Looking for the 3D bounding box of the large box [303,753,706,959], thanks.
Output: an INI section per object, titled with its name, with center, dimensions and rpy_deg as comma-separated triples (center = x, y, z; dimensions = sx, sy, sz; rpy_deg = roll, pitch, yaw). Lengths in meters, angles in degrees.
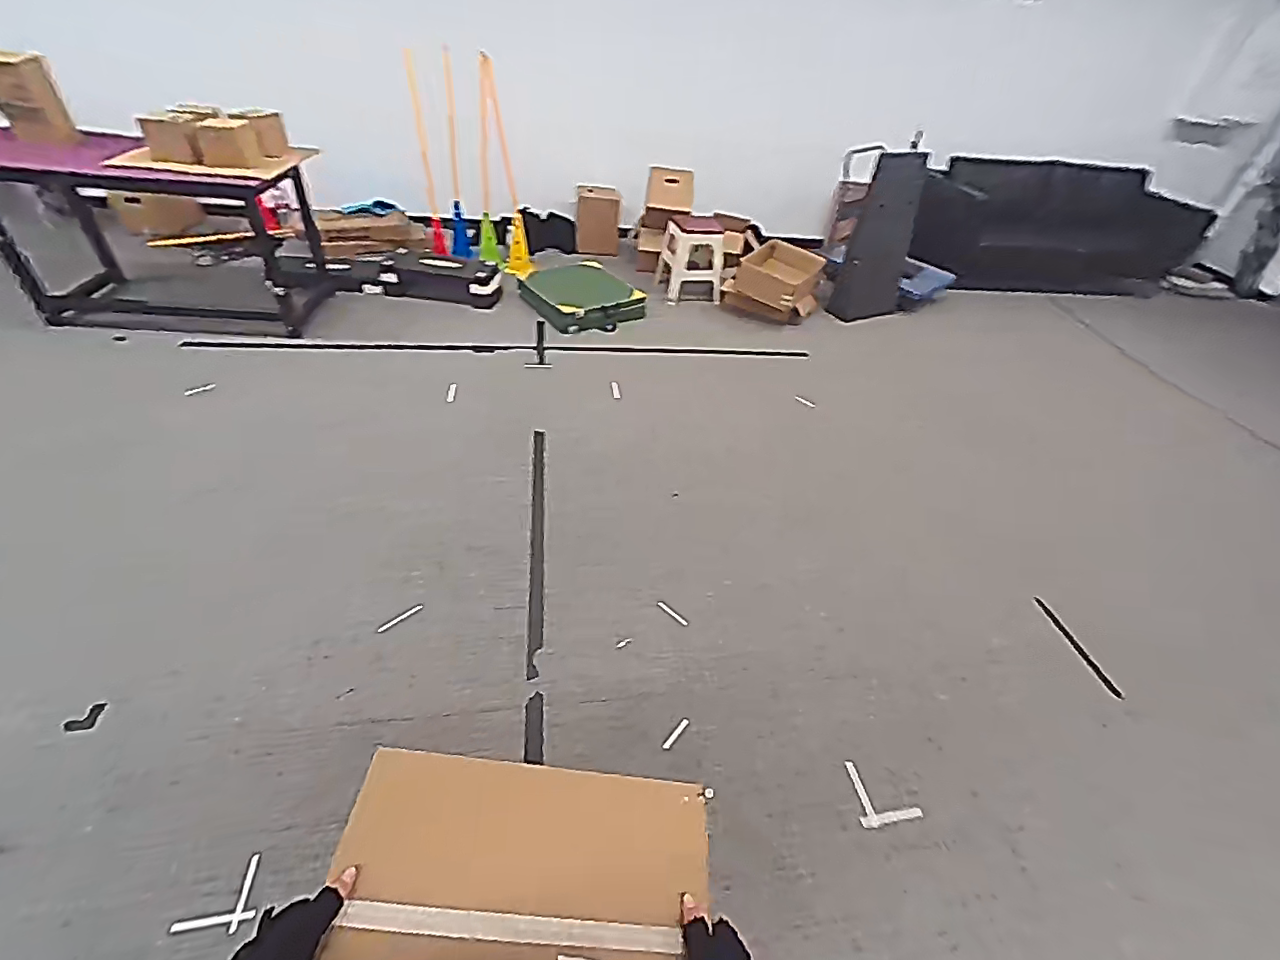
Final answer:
[large box]
center = -0.155, 0.570, 0.655
dimensions = 0.408, 0.320, 0.320
rpy_deg = 10, 41, -6
